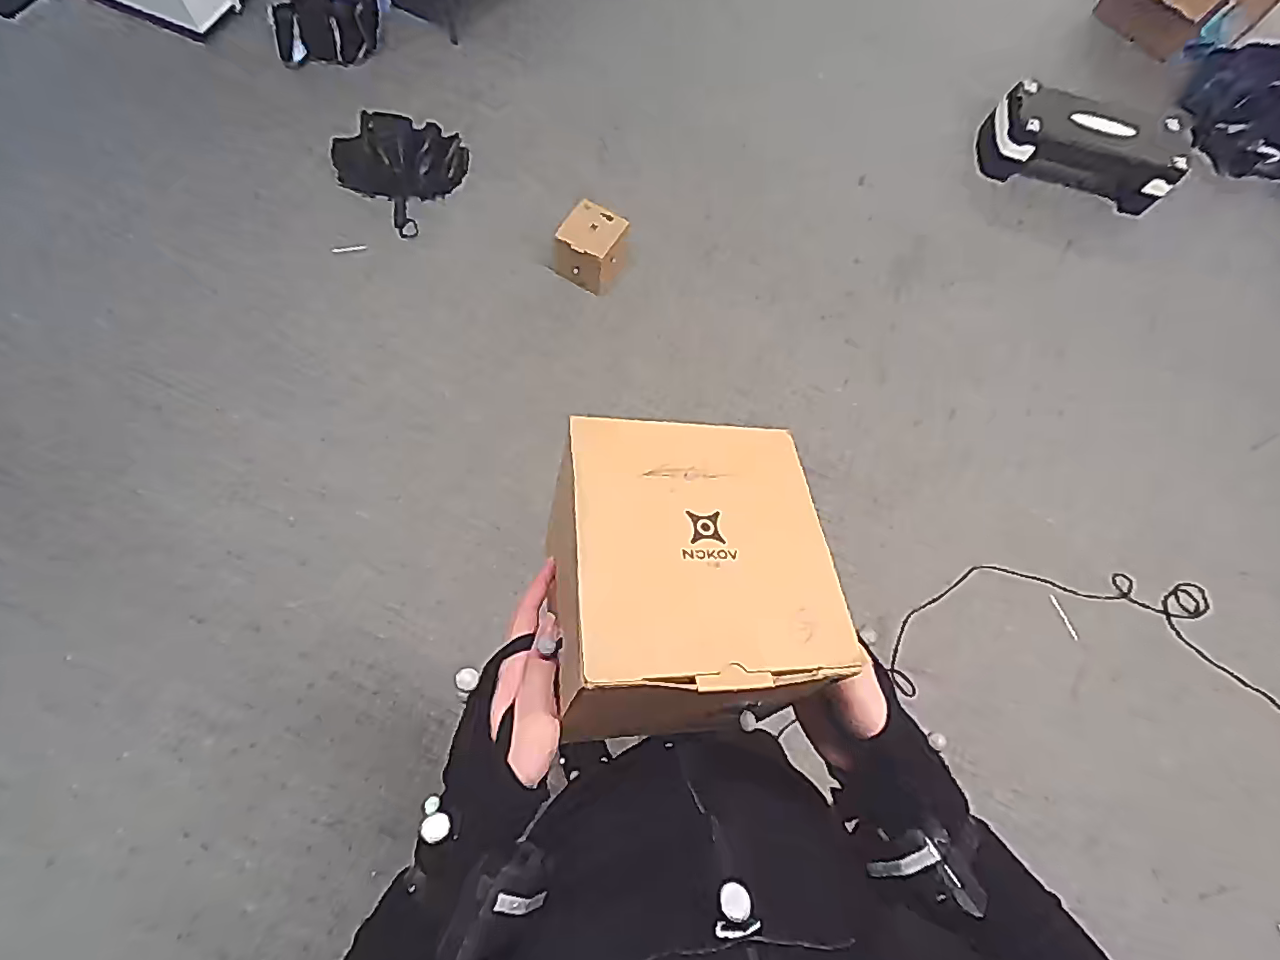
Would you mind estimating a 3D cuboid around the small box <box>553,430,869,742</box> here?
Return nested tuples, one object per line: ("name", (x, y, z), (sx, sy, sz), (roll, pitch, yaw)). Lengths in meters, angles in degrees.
("small box", (0.028, 0.086, 0.401), (0.168, 0.176, 0.179), (2, 54, -15))
